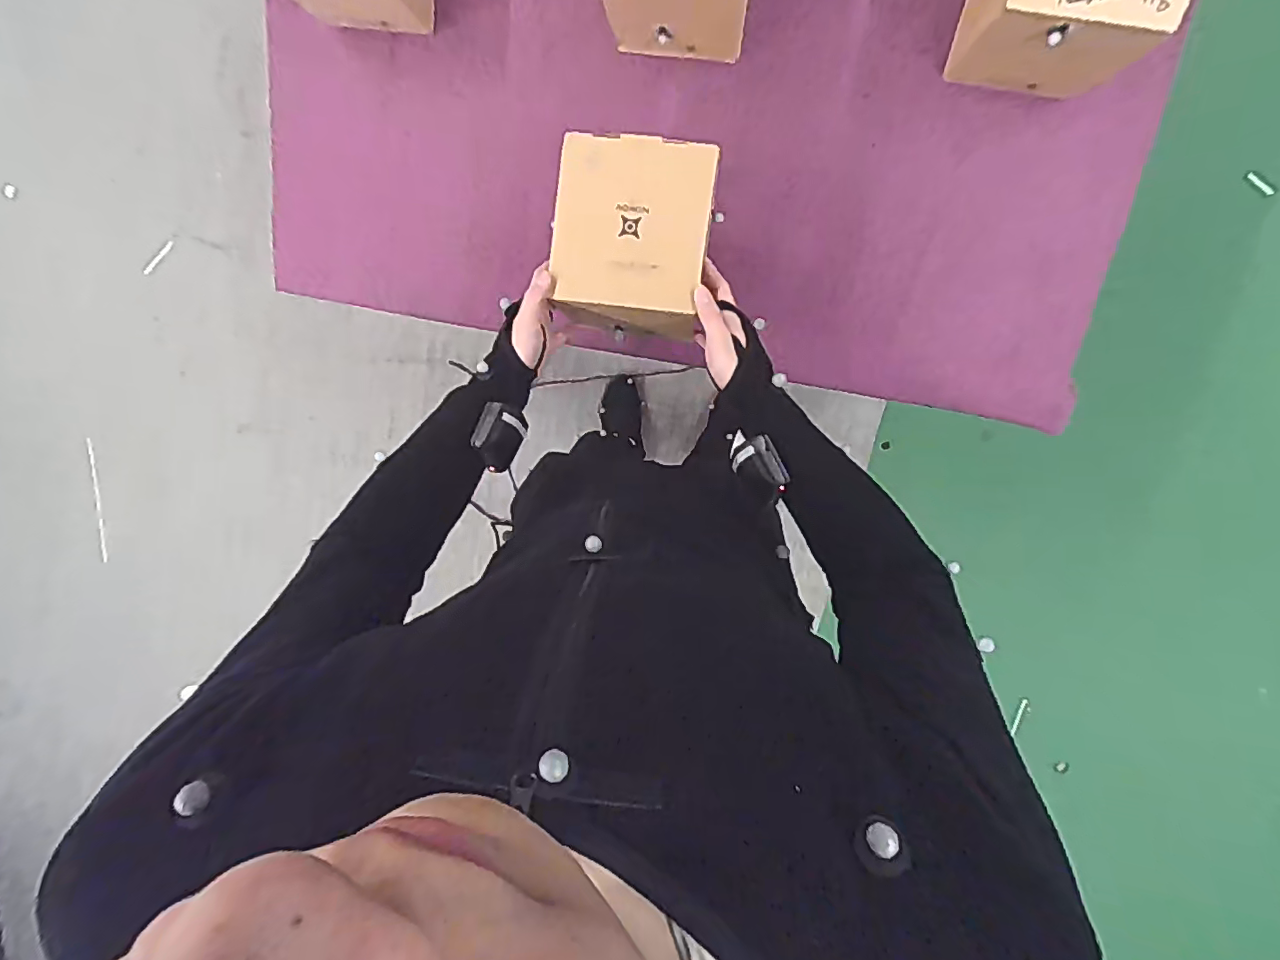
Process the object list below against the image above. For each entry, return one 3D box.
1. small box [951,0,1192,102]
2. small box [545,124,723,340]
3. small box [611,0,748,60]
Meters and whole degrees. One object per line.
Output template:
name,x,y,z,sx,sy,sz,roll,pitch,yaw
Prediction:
small box,0.474,-0.554,0.586,0.168,0.176,0.179,13,107,5
small box,-0.003,-0.277,0.640,0.168,0.176,0.179,9,96,4
small box,0.053,-0.631,0.620,0.168,0.176,0.179,9,107,4
